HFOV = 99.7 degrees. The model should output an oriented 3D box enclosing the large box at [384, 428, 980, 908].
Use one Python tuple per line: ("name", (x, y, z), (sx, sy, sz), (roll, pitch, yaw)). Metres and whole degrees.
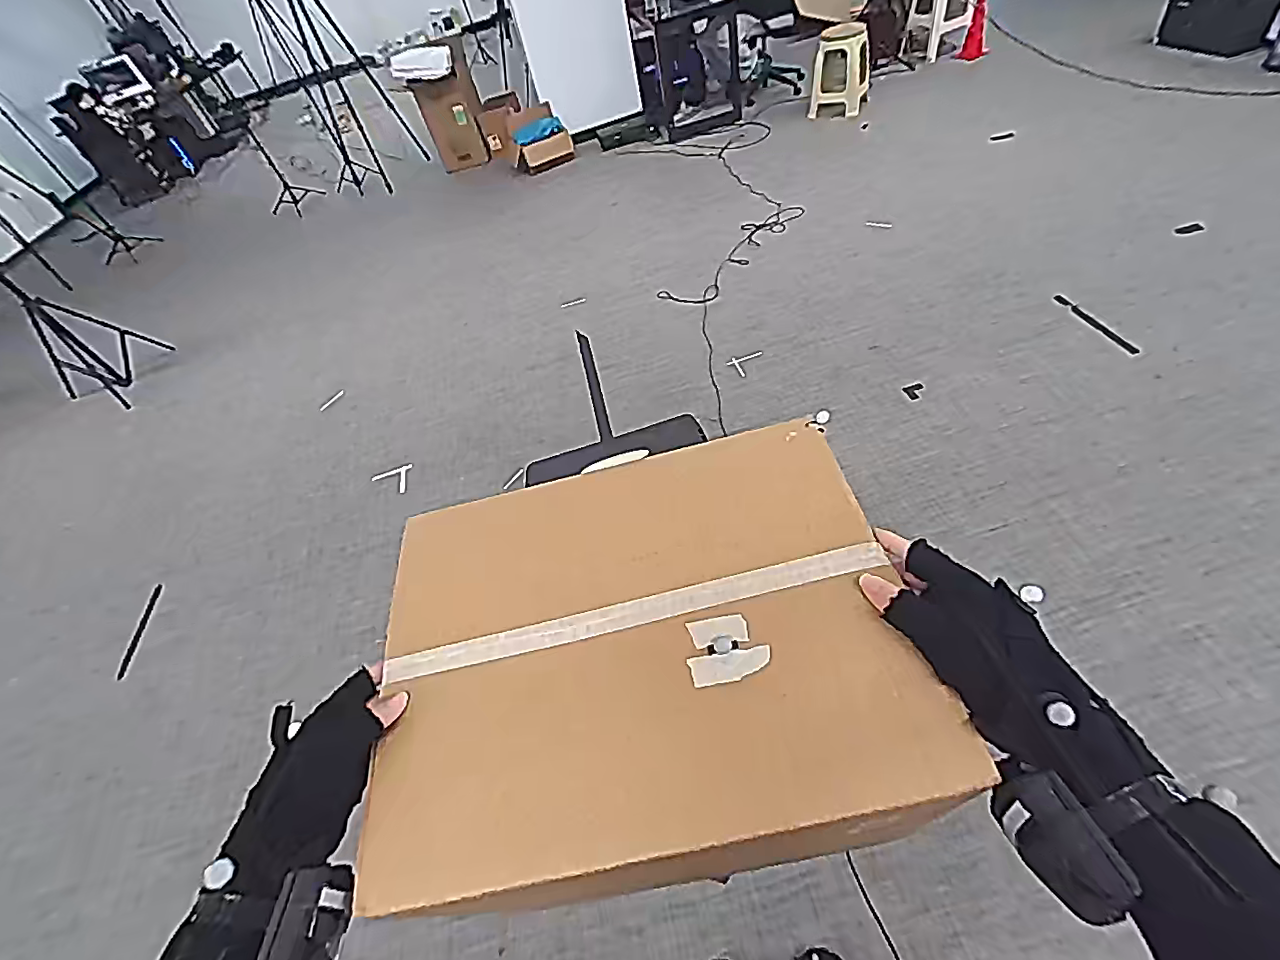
("large box", (0.026, 0.202, 0.552), (0.408, 0.320, 0.320), (-14, 51, 3))
